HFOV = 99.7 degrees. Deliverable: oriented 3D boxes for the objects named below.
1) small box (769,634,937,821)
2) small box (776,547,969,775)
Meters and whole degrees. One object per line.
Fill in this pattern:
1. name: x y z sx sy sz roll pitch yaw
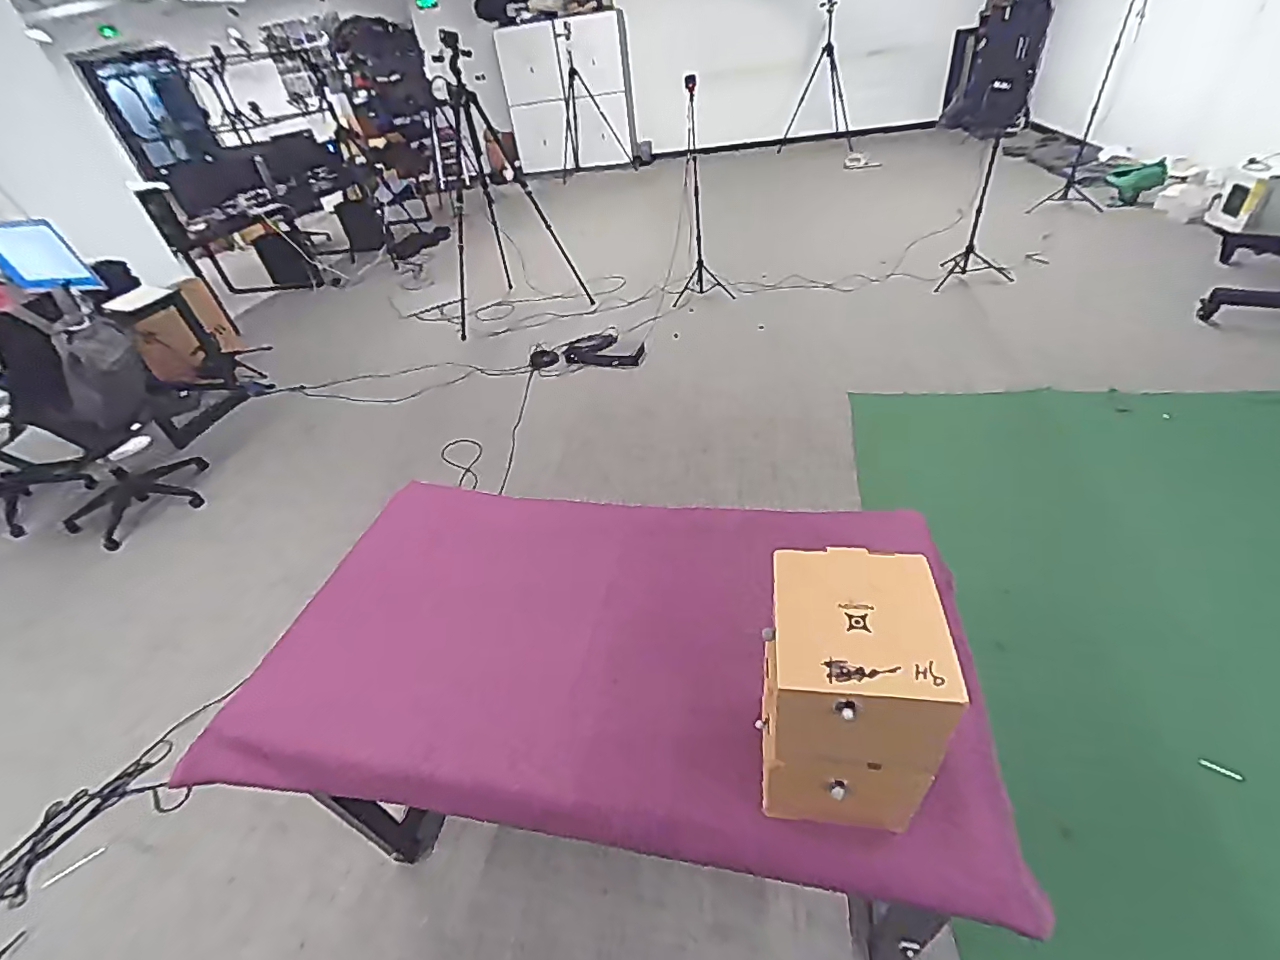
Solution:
1. small box: 0.260 0.321 0.705 0.179 0.176 0.168 -2 41 13
2. small box: 0.237 0.195 0.602 0.168 0.176 0.179 -2 40 14
